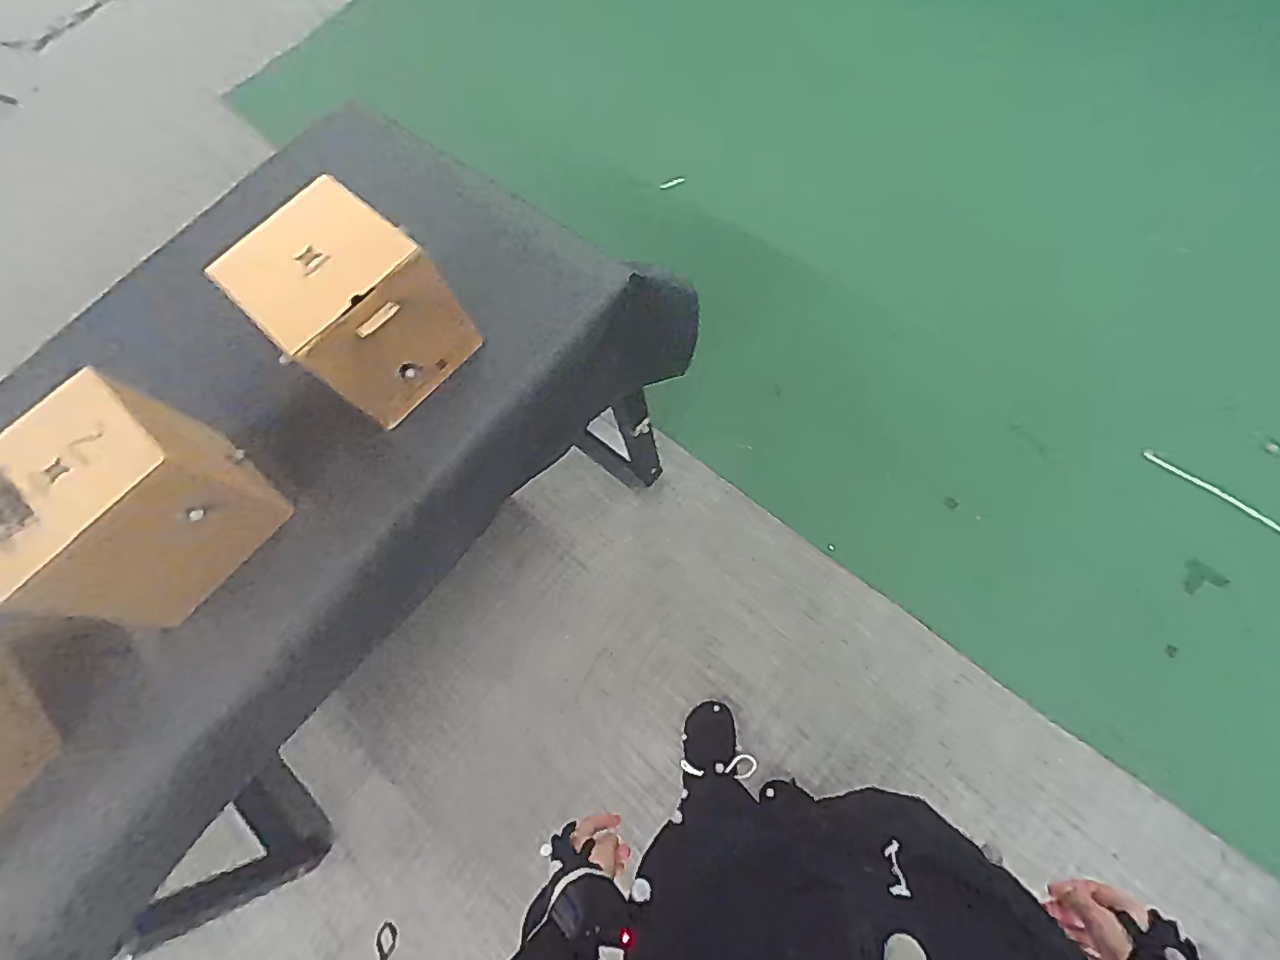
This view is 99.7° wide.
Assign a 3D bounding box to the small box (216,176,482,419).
[{"bbox_3d":[-0.322,-0.201,0.630,0.179,0.176,0.168,40,79,18],"label":"small box"}]
